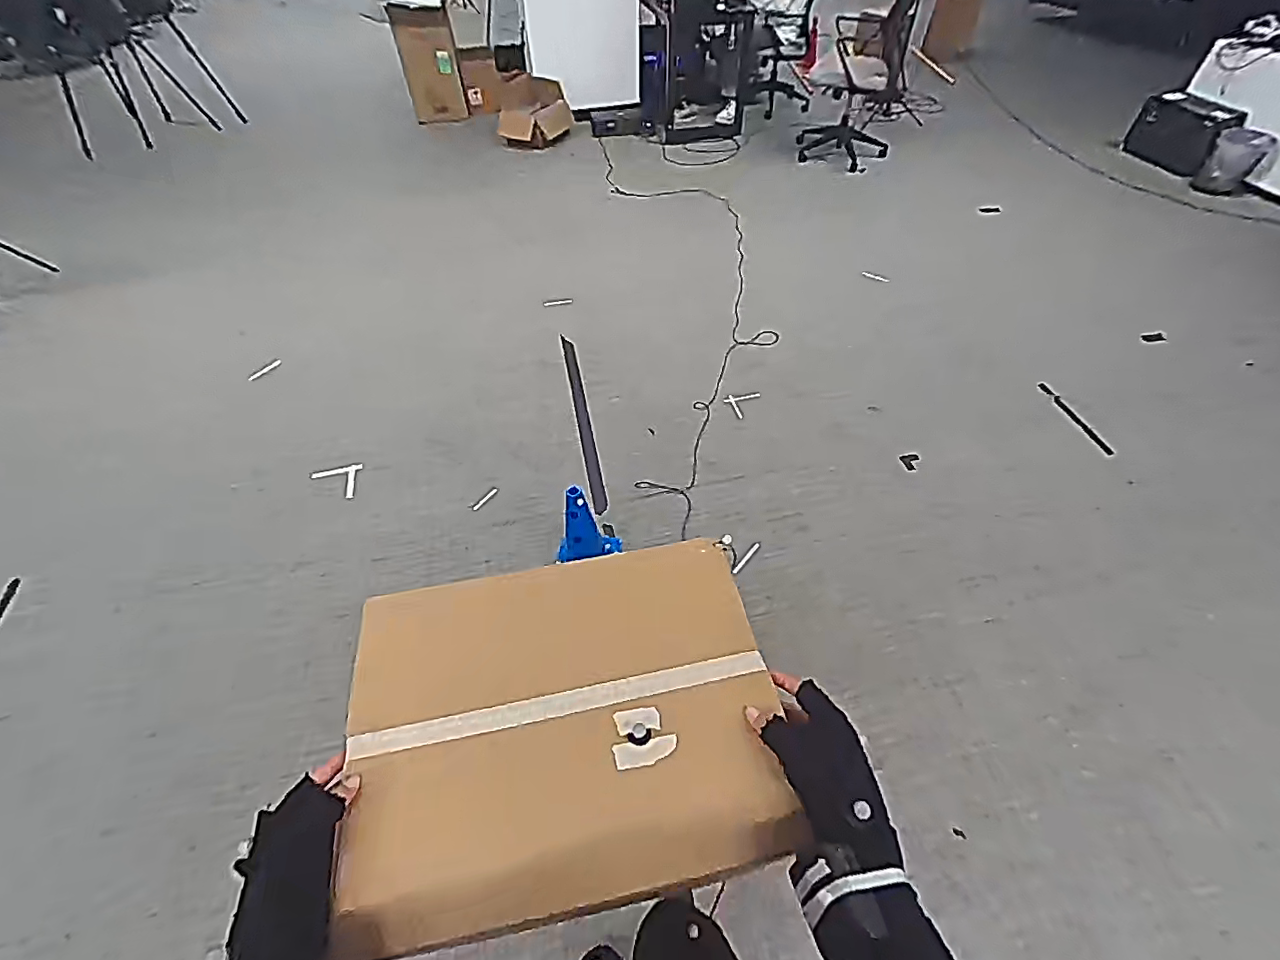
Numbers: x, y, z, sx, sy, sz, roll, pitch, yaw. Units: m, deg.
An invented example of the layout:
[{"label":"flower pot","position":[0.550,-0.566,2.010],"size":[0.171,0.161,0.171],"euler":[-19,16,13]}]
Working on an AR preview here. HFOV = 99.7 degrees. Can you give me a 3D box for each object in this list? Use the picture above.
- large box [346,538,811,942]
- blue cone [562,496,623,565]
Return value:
[{"label":"large box","position":[-0.070,0.312,0.656],"size":[0.408,0.320,0.320],"euler":[-9,51,-7]},{"label":"blue cone","position":[-0.159,0.166,1.584],"size":[0.193,0.380,0.192],"euler":[5,51,7]}]
